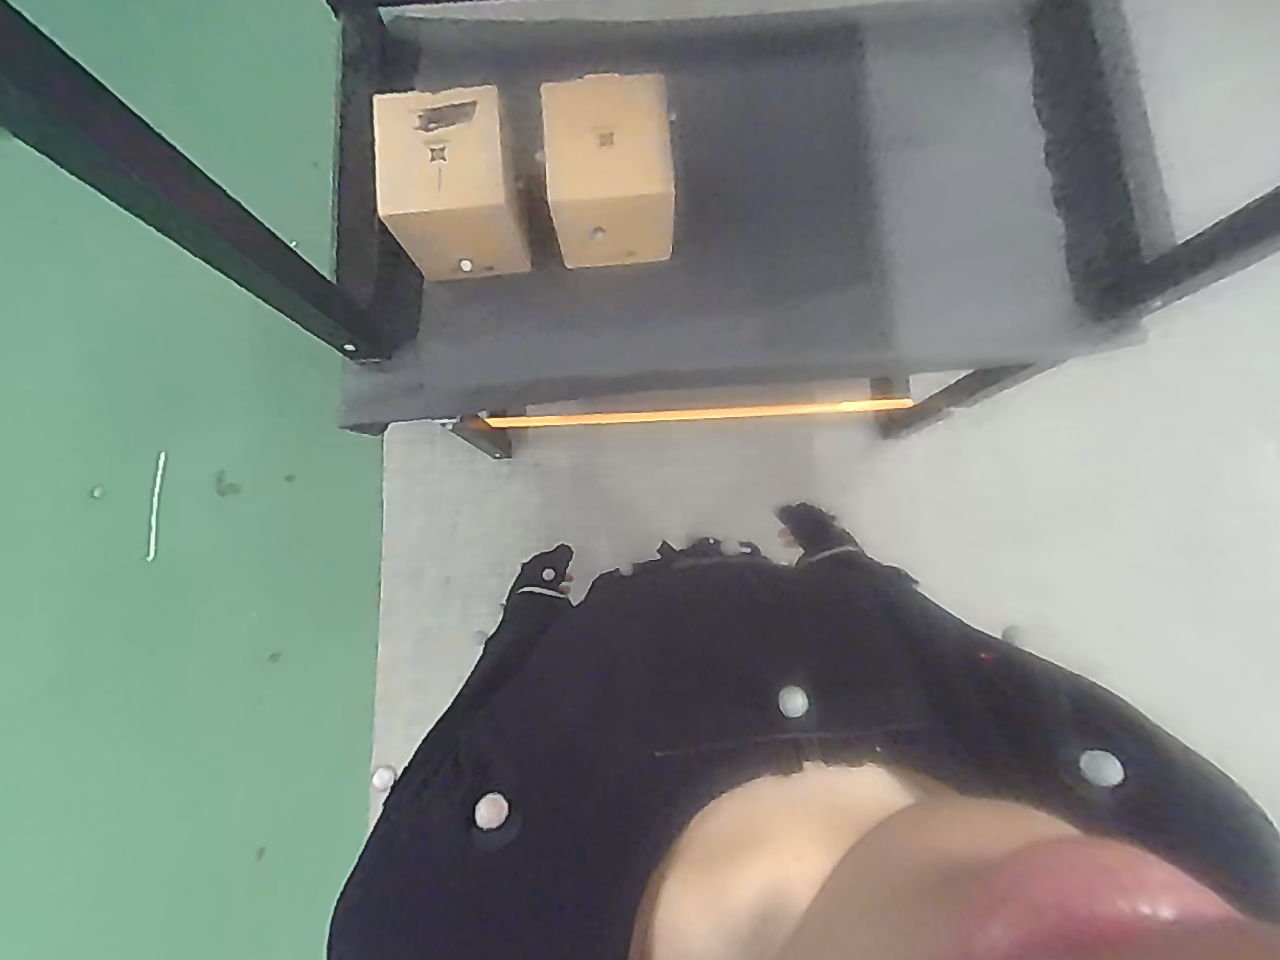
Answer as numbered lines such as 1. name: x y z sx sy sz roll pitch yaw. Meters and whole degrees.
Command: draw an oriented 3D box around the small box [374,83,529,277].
1. small box: -0.260 -0.419 0.777 0.168 0.176 0.179 -5 82 0
